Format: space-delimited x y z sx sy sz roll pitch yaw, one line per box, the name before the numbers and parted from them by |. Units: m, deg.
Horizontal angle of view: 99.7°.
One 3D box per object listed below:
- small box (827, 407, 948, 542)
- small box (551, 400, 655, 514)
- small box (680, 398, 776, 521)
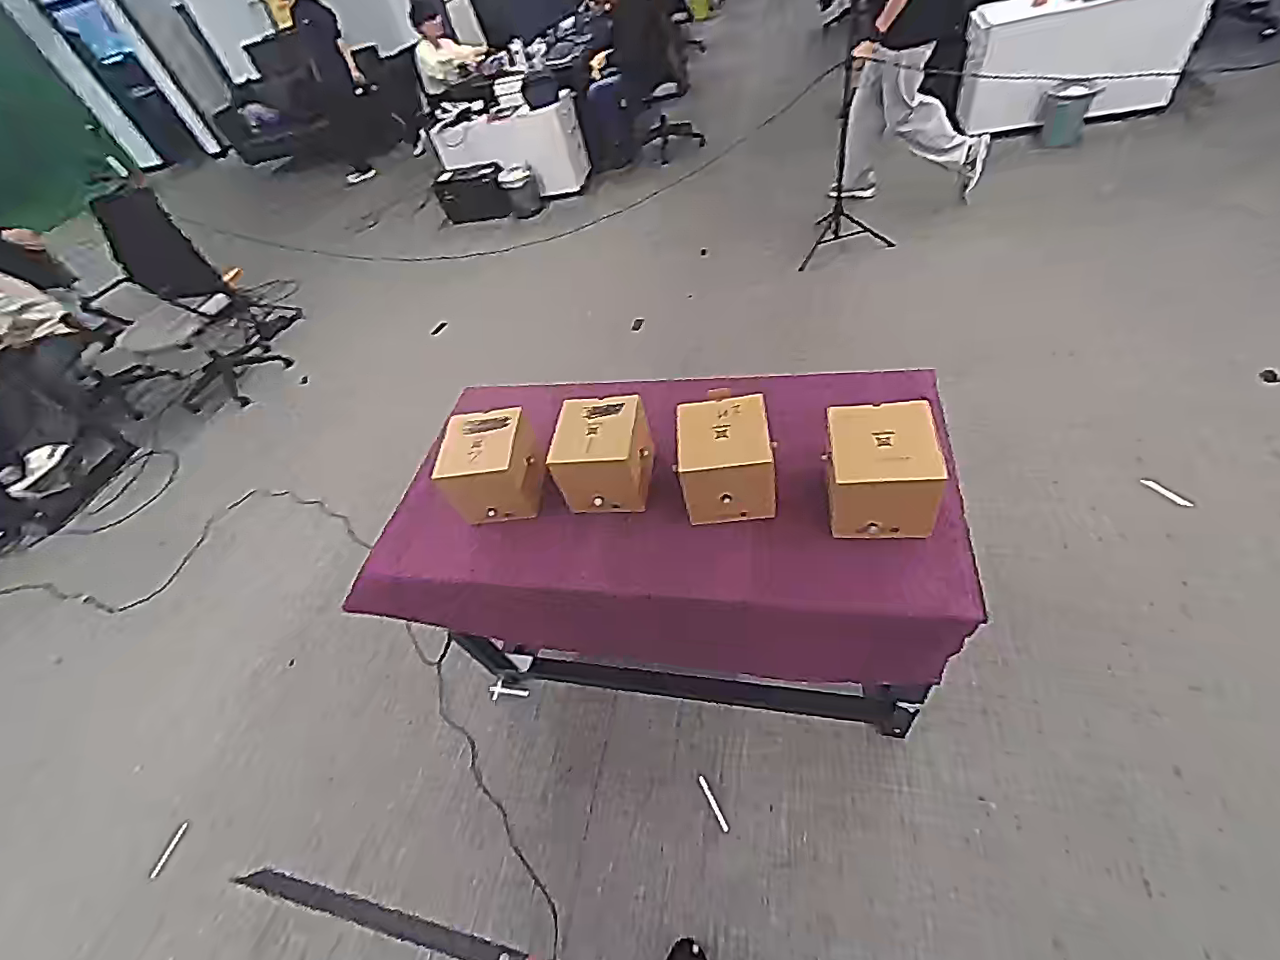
small box | 0.428 -0.009 0.966 0.168 0.176 0.179 -2 49 15
small box | -0.068 -0.047 1.139 0.168 0.176 0.179 -2 51 14
small box | 0.172 -0.032 1.058 0.168 0.176 0.179 -6 49 11
